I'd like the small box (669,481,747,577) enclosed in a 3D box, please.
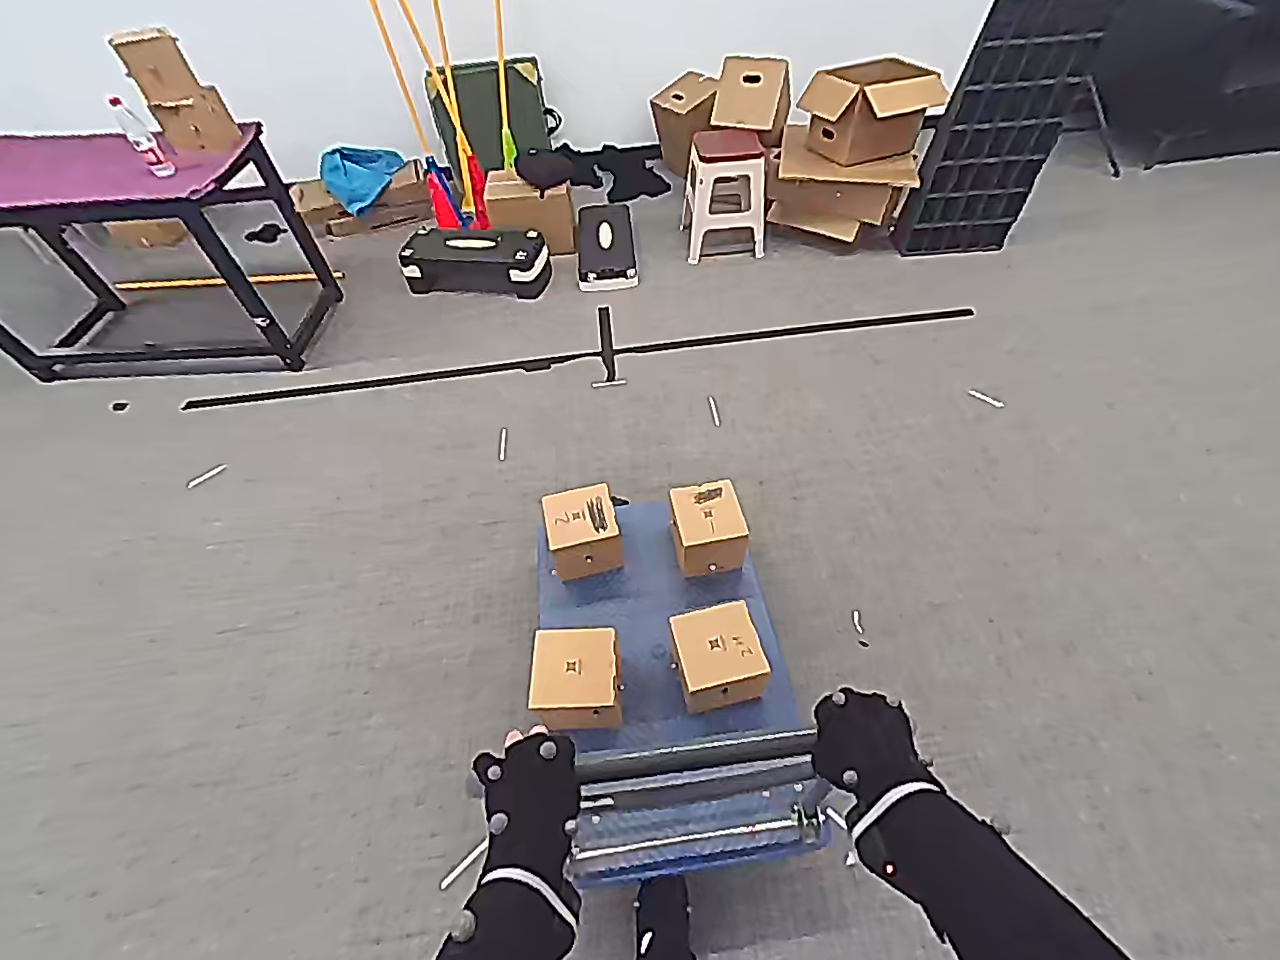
[{"bbox_3d":[0.171,0.130,1.419,0.168,0.176,0.179,-10,53,-4],"label":"small box"}]

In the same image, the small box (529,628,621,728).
[{"bbox_3d":[-0.135,0.442,1.198,0.179,0.176,0.168,-2,51,0],"label":"small box"}]

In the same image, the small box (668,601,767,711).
[{"bbox_3d":[0.168,0.397,1.211,0.179,0.176,0.168,-12,52,-5],"label":"small box"}]
